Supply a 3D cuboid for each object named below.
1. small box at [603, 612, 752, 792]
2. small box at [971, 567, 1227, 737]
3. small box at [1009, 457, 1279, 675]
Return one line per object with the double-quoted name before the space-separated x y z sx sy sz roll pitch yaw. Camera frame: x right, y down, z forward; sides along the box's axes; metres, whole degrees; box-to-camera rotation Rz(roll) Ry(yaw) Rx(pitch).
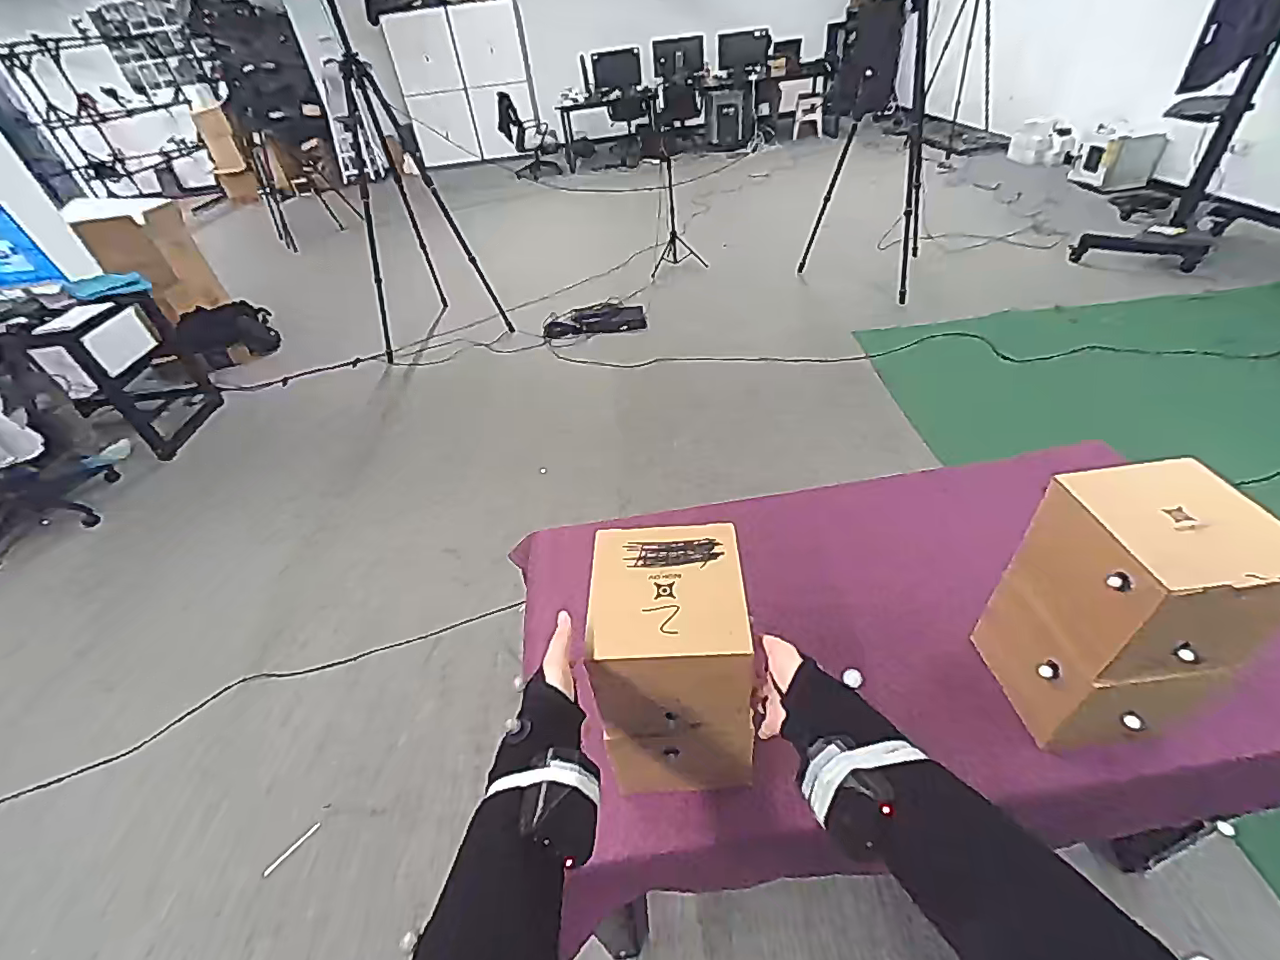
"small box" 0.049 0.303 0.732 0.179 0.176 0.168 -6 41 2
"small box" 0.591 0.227 0.729 0.168 0.176 0.179 -8 40 0
"small box" 0.578 0.098 0.629 0.168 0.176 0.179 -8 42 0
